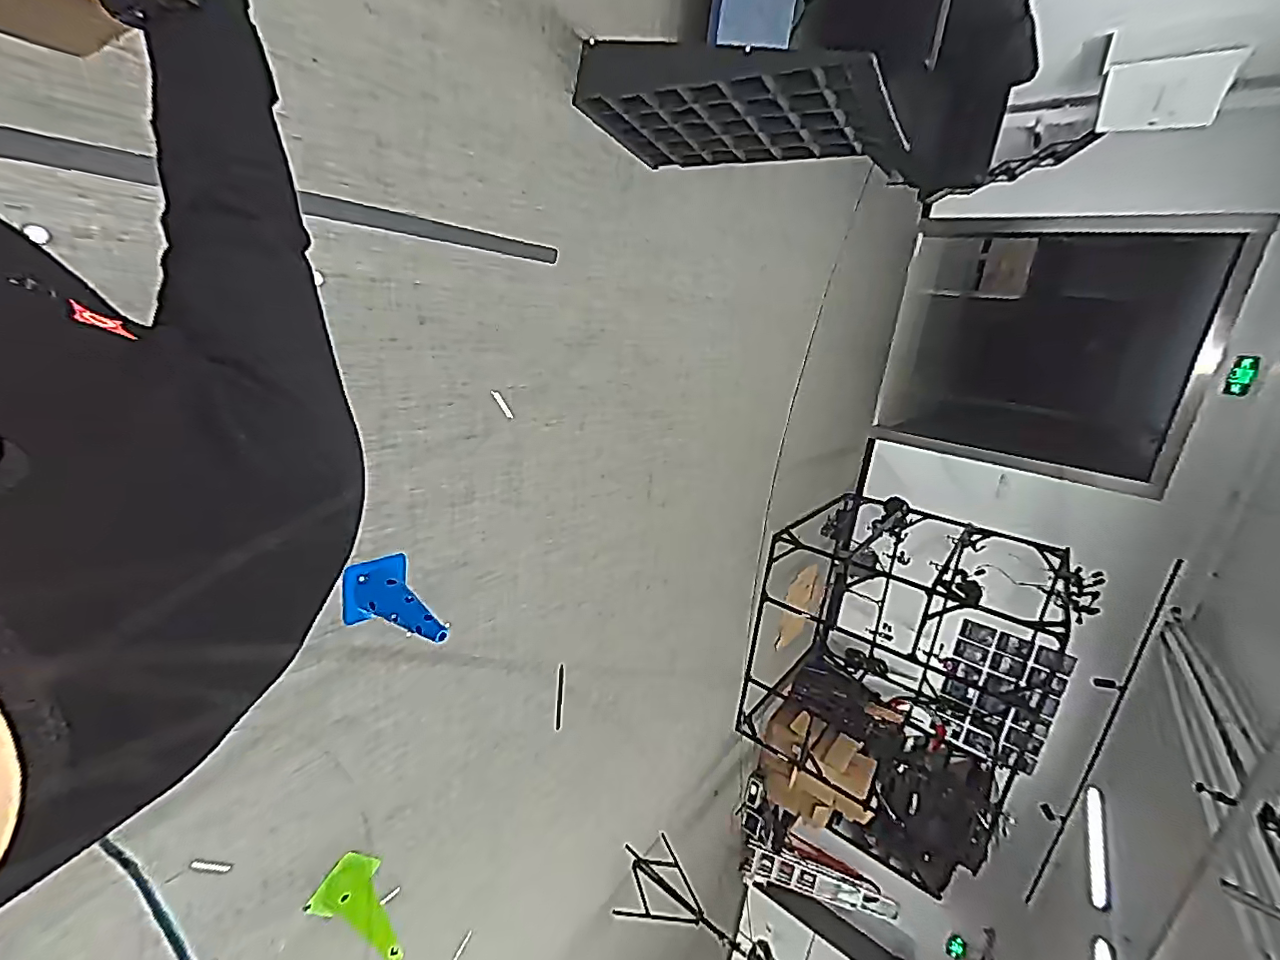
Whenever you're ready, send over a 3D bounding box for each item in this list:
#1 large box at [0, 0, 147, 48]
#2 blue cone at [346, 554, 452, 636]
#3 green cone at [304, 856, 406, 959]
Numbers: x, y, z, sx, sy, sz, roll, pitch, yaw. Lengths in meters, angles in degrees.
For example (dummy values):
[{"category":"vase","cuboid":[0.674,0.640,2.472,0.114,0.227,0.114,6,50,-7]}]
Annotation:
[{"category":"large box","cuboid":[-0.552,-0.486,0.258,0.408,0.320,0.320,-13,121,-50]},{"category":"blue cone","cuboid":[-0.697,0.378,1.609,0.192,0.380,0.193,-11,114,-54]},{"category":"green cone","cuboid":[-0.902,1.475,1.801,0.202,0.368,0.200,-54,143,-27]}]
